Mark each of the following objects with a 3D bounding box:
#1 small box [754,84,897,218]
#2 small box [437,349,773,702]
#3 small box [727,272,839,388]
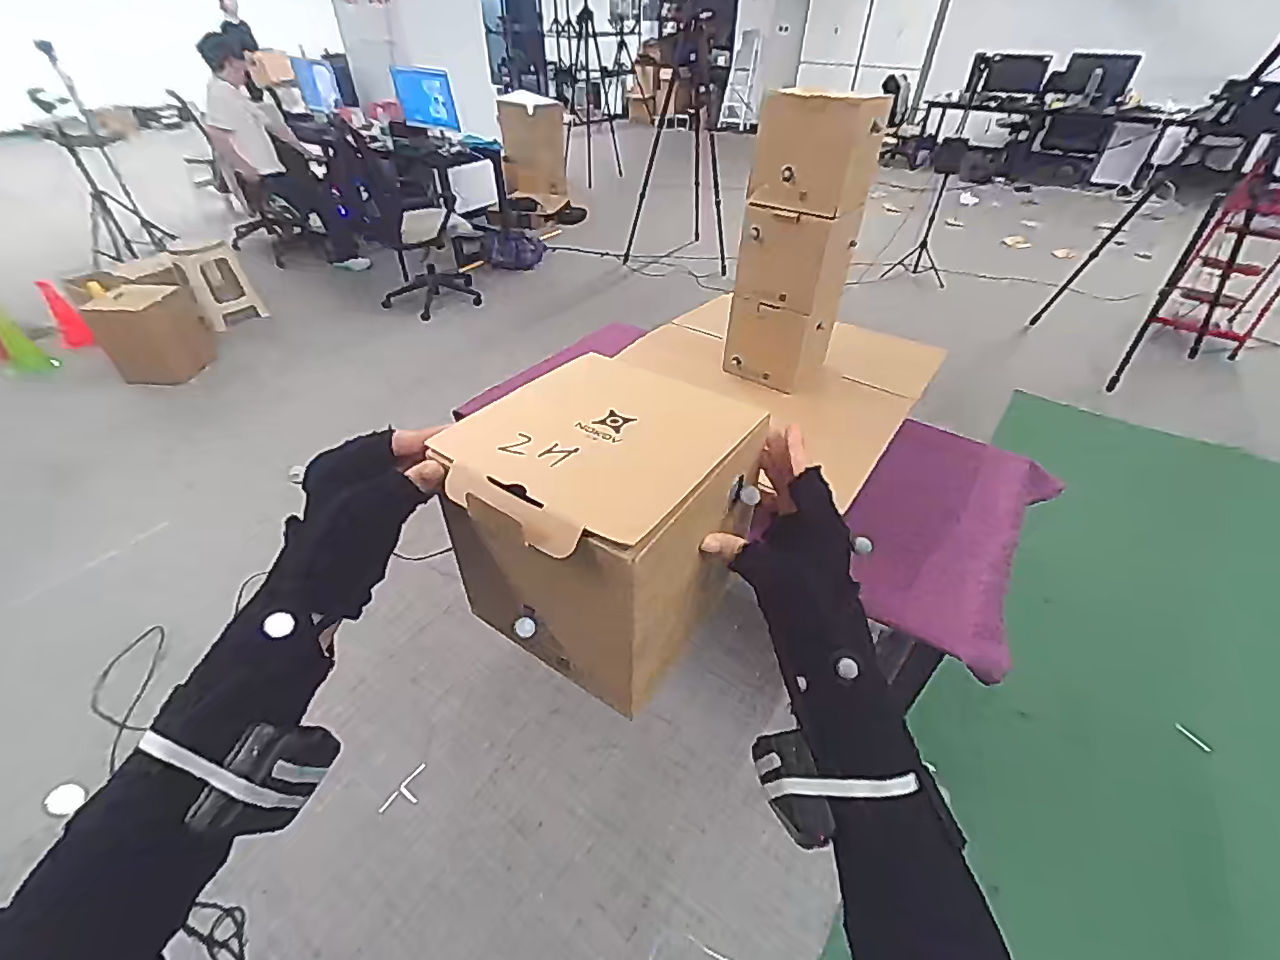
[{"bbox_3d":[0.314,-0.572,0.937,0.168,0.176,0.179,26,44,25],"label":"small box"},{"bbox_3d":[-0.021,0.026,0.417,0.168,0.176,0.179,24,45,26],"label":"small box"},{"bbox_3d":[0.295,-0.316,1.142,0.168,0.176,0.179,25,46,25],"label":"small box"}]
